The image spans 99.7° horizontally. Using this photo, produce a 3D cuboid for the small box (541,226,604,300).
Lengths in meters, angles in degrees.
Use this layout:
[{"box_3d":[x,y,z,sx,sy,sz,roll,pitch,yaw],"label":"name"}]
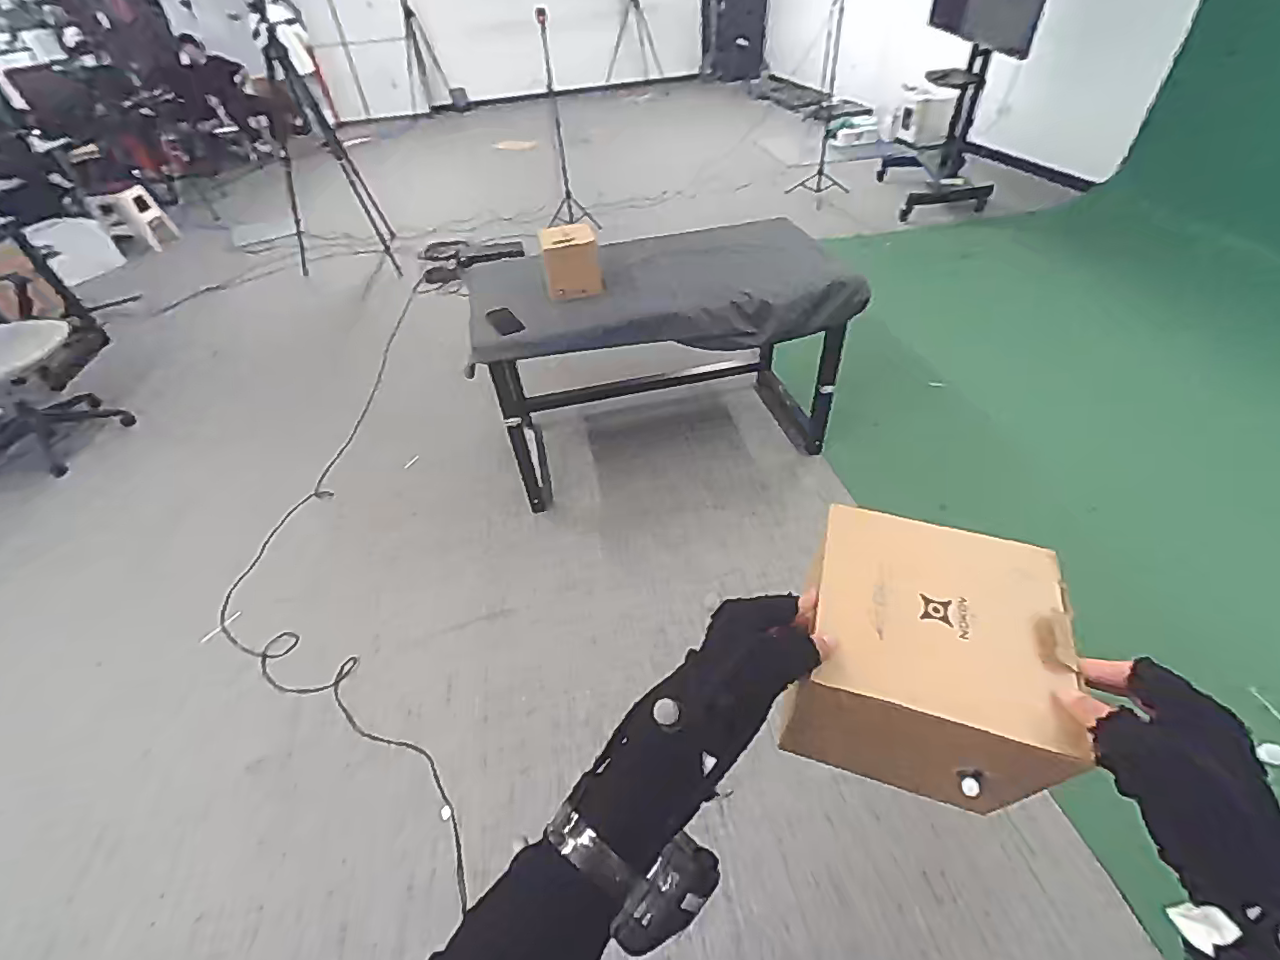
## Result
[{"box_3d":[-0.214,-0.688,1.728,0.168,0.176,0.179,-11,43,-7],"label":"small box"}]
